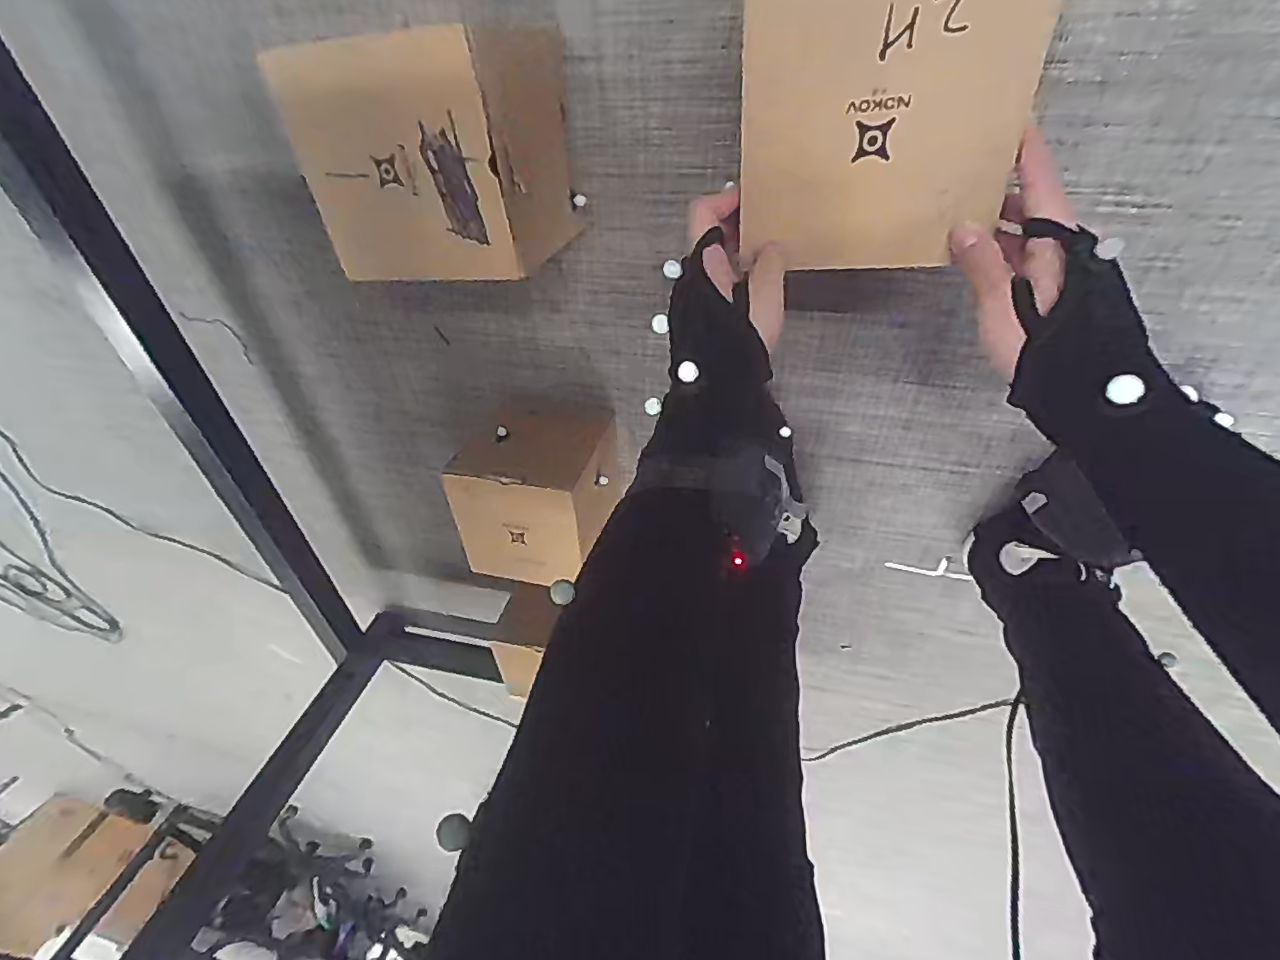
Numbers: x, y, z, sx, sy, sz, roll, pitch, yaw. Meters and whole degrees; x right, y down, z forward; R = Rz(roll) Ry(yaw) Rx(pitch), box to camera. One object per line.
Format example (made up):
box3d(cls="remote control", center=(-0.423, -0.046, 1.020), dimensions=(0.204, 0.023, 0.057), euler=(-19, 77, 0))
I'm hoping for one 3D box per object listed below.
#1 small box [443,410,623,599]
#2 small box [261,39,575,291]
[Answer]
box3d(cls="small box", center=(-0.125, 0.026, 0.712), dimensions=(0.168, 0.176, 0.179), euler=(8, 130, 13))
box3d(cls="small box", center=(-0.168, -0.279, 0.481), dimensions=(0.179, 0.176, 0.168), euler=(5, 128, 16))
